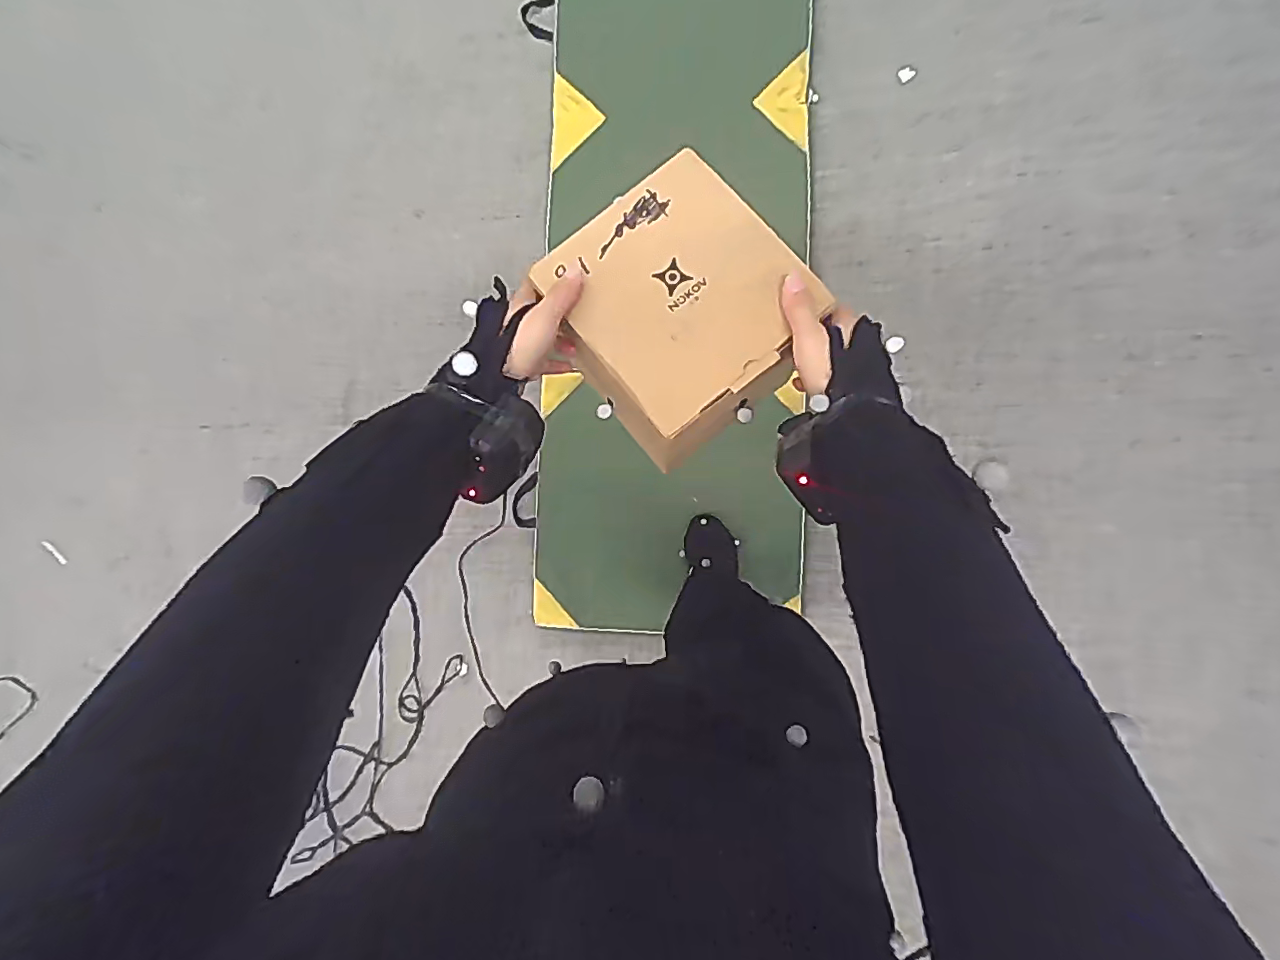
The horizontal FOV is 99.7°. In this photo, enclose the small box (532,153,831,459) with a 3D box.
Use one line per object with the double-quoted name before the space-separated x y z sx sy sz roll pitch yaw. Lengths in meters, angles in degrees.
"small box" 0.034 -0.135 0.493 0.168 0.176 0.179 -39 82 -4
